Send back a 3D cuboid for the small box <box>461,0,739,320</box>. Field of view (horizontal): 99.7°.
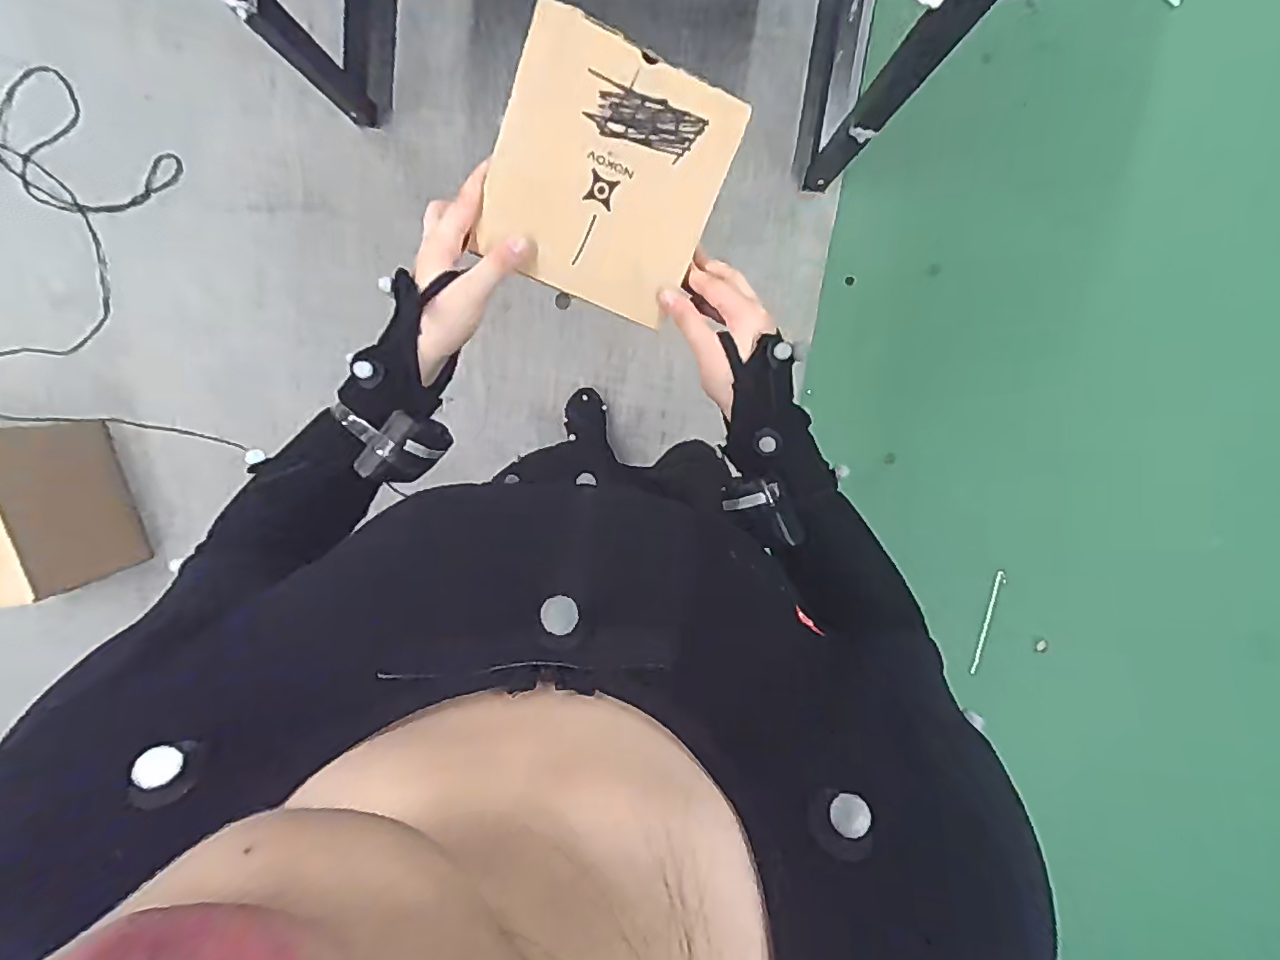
[{"bbox_3d":[-0.039,-0.262,0.483,0.168,0.176,0.179,20,107,-11],"label":"small box"}]

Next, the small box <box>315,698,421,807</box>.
[{"bbox_3d":[-0.663,0.665,1.335,0.179,0.176,0.168,10,98,-1],"label":"small box"}]
